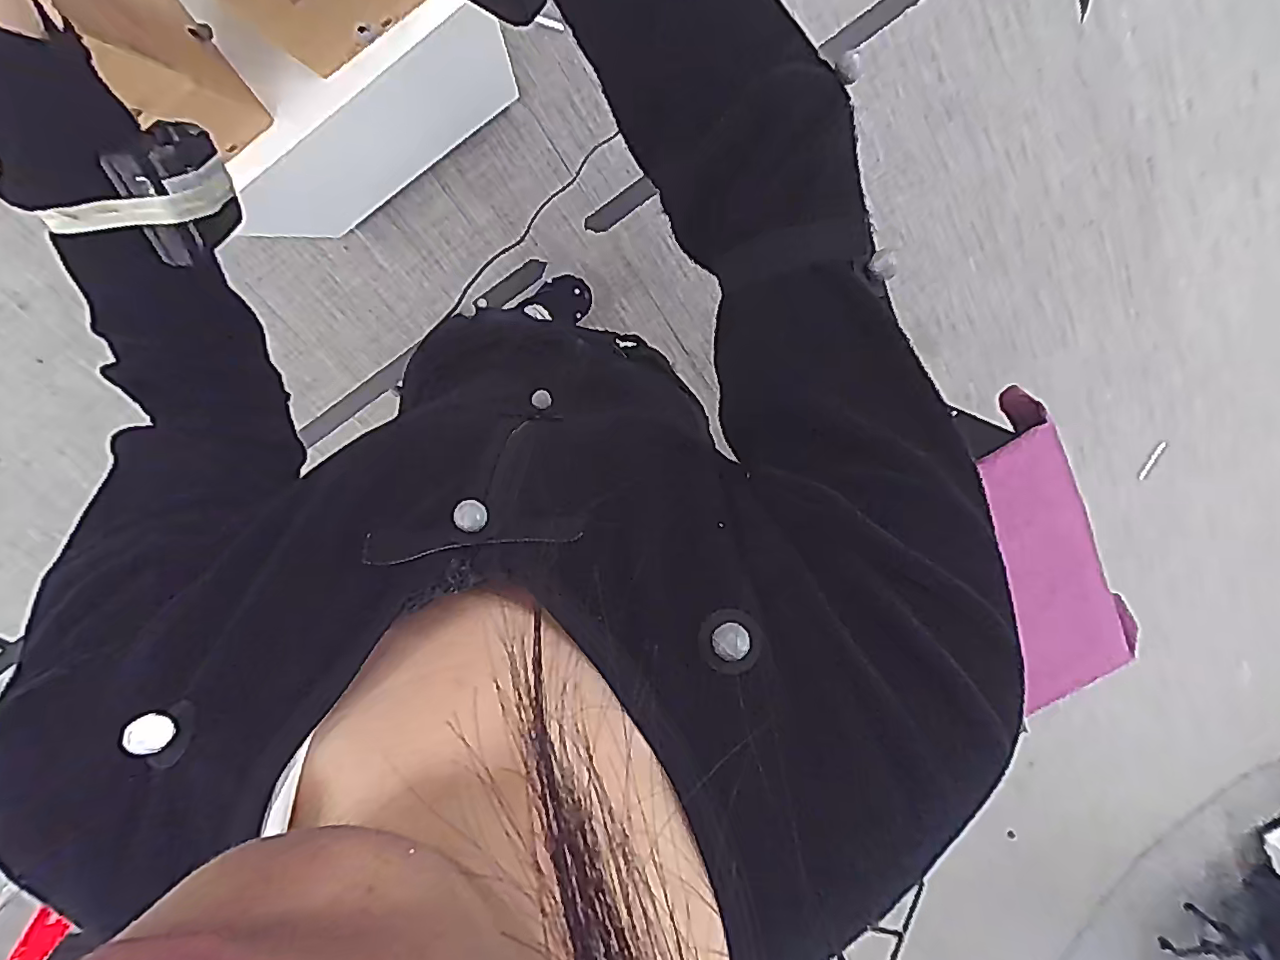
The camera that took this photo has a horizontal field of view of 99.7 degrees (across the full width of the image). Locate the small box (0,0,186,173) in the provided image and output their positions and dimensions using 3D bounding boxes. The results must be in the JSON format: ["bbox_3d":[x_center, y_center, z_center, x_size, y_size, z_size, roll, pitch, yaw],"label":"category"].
[{"bbox_3d":[-0.532,-0.372,0.428,0.168,0.176,0.179,-34,113,7],"label":"small box"}]

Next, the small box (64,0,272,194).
[{"bbox_3d":[-0.554,-0.436,0.576,0.168,0.176,0.179,-33,112,7],"label":"small box"}]
